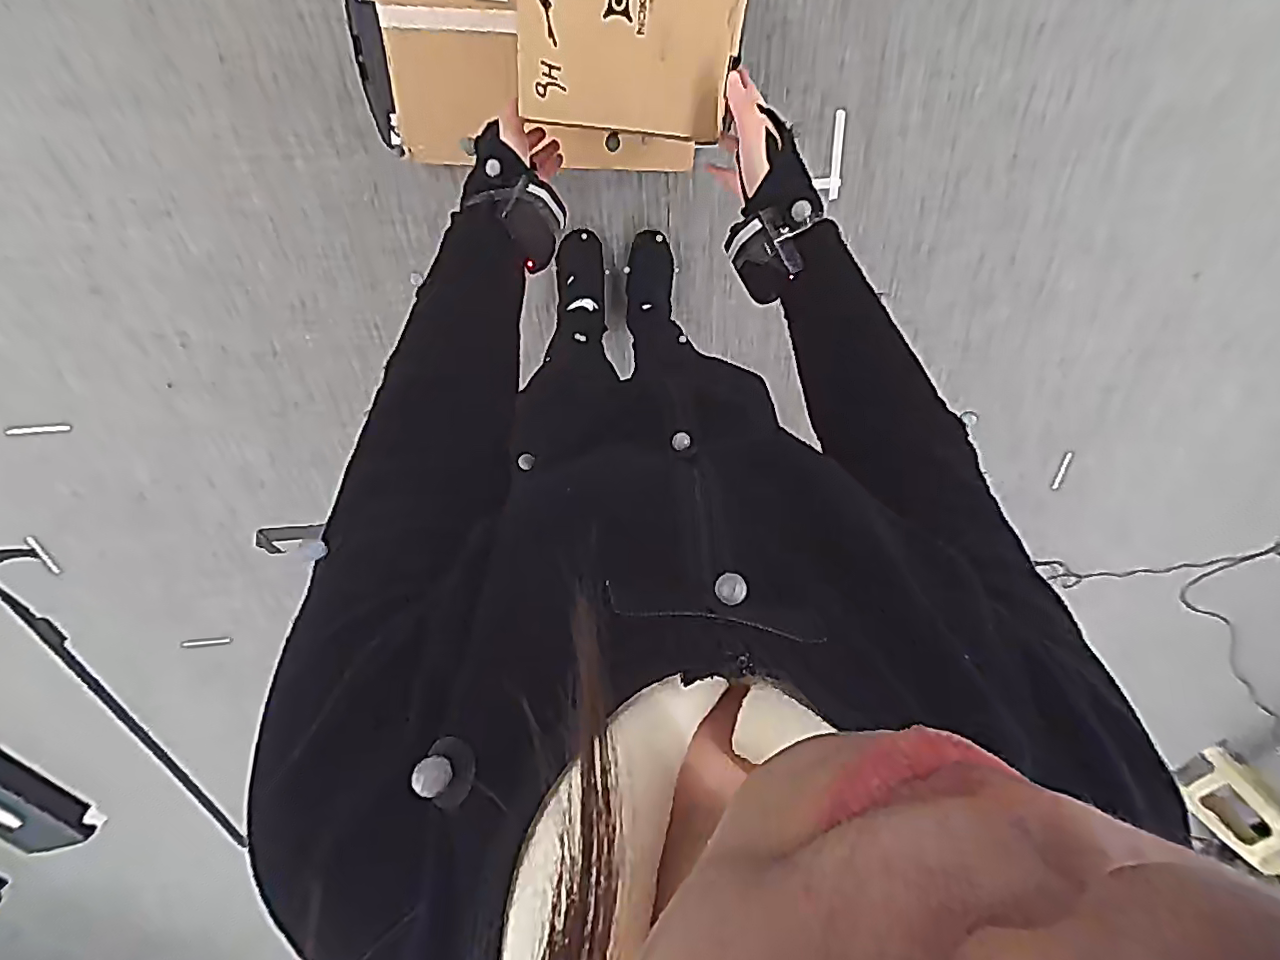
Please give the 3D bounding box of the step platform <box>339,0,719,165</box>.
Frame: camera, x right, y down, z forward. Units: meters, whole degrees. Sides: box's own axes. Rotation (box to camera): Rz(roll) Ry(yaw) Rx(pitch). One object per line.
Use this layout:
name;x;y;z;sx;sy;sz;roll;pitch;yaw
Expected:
step platform;-0.169;-0.768;1.000;0.684;0.204;0.286;1;122;-5

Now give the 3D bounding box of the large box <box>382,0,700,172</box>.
large box;-0.123;-0.646;0.800;0.408;0.320;0.320;-1;121;-4

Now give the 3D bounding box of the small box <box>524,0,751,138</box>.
small box;-0.009;-0.409;0.476;0.179;0.176;0.168;2;121;-8
